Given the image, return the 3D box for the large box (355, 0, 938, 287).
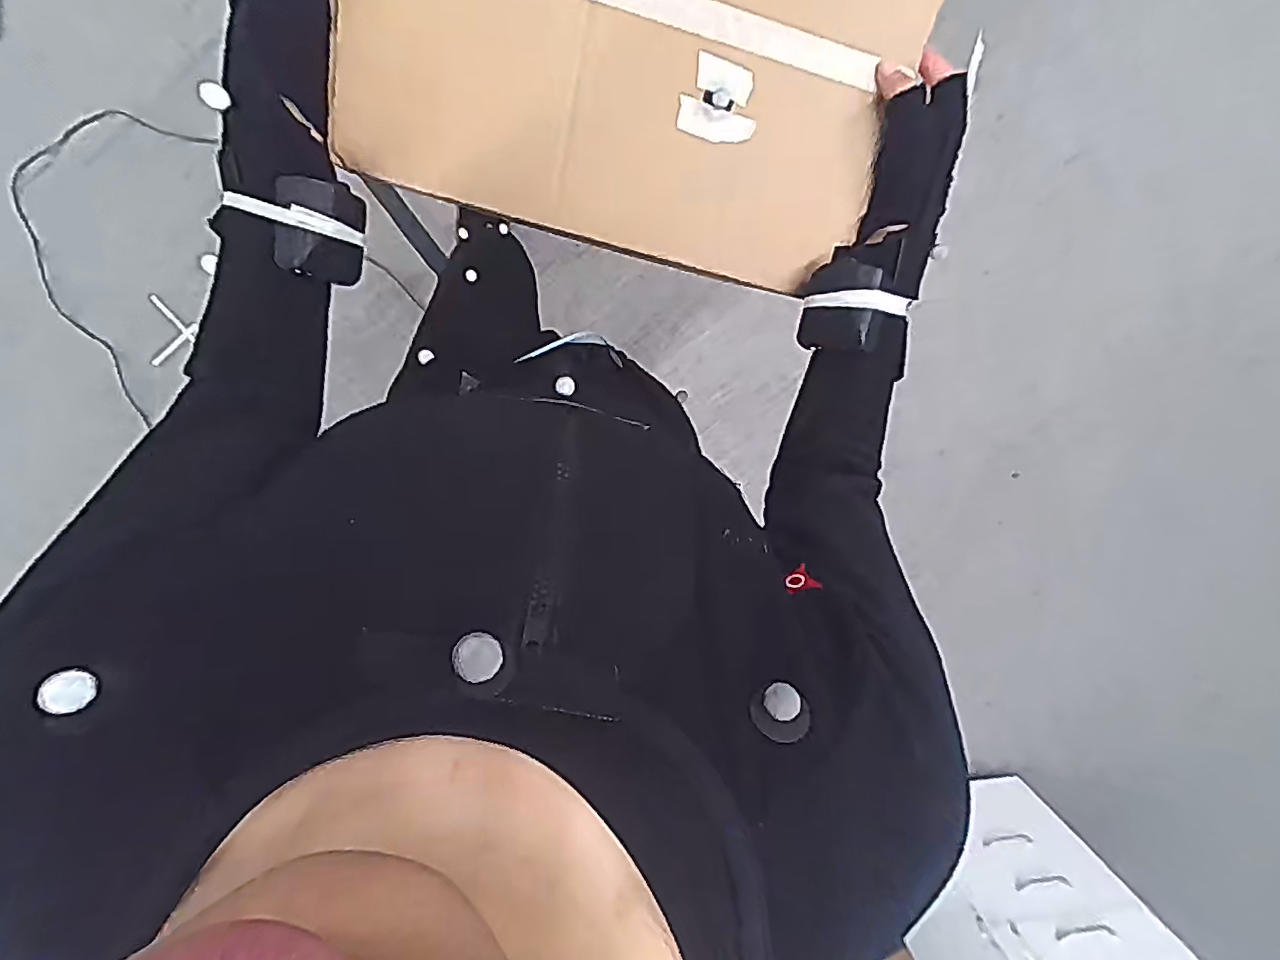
[{"bbox_3d":[-0.001,-0.397,0.518,0.408,0.320,0.320,12,112,-10],"label":"large box"}]
